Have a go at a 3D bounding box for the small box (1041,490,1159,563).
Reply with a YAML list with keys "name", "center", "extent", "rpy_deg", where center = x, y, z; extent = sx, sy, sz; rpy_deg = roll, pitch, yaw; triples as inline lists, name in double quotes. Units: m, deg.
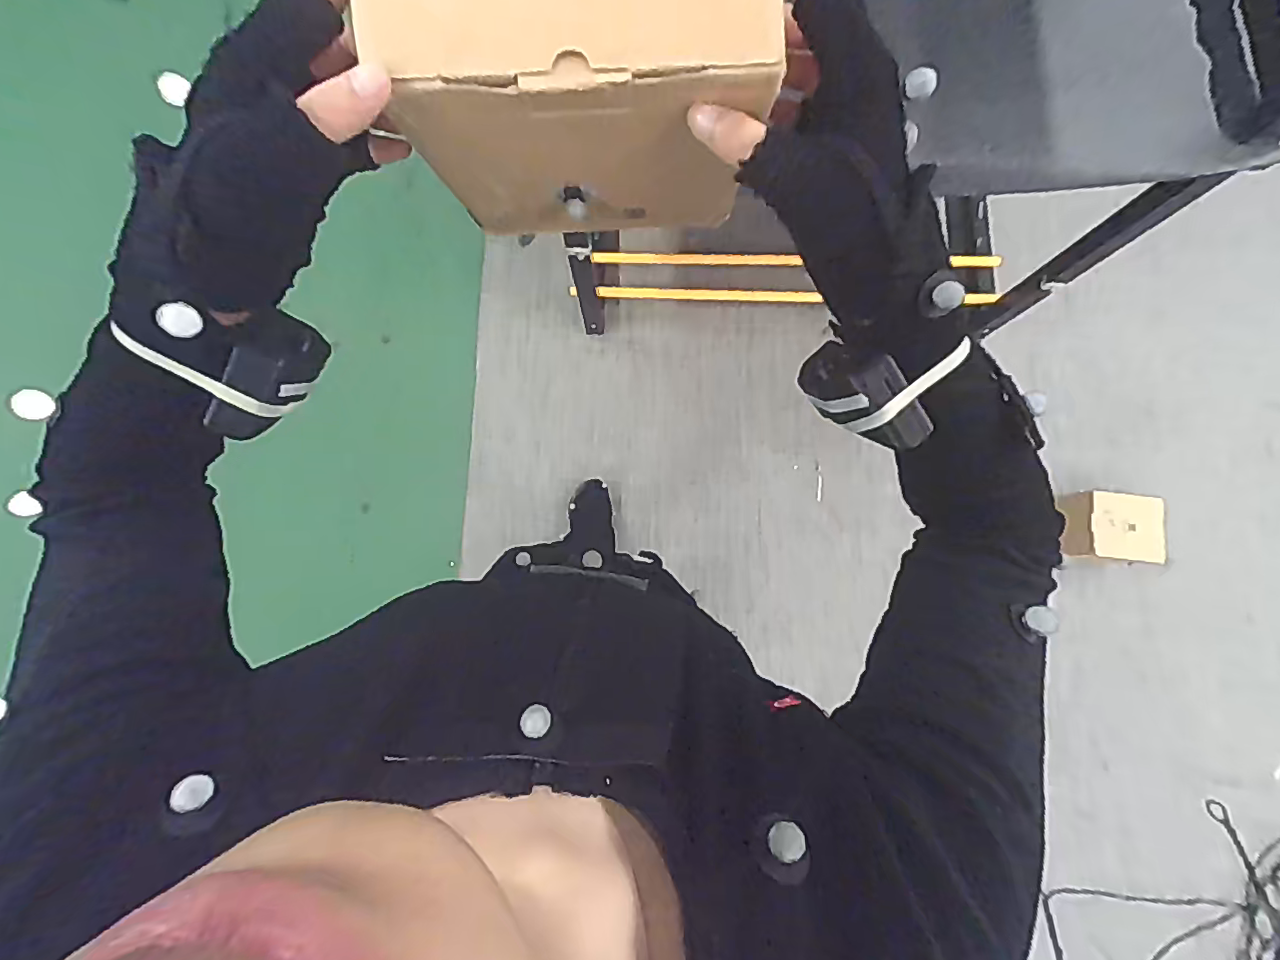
- name: "small box"
  center: [1.210, 0.126, 1.429]
  extent: [0.179, 0.176, 0.168]
  rpy_deg: [7, 81, 1]
